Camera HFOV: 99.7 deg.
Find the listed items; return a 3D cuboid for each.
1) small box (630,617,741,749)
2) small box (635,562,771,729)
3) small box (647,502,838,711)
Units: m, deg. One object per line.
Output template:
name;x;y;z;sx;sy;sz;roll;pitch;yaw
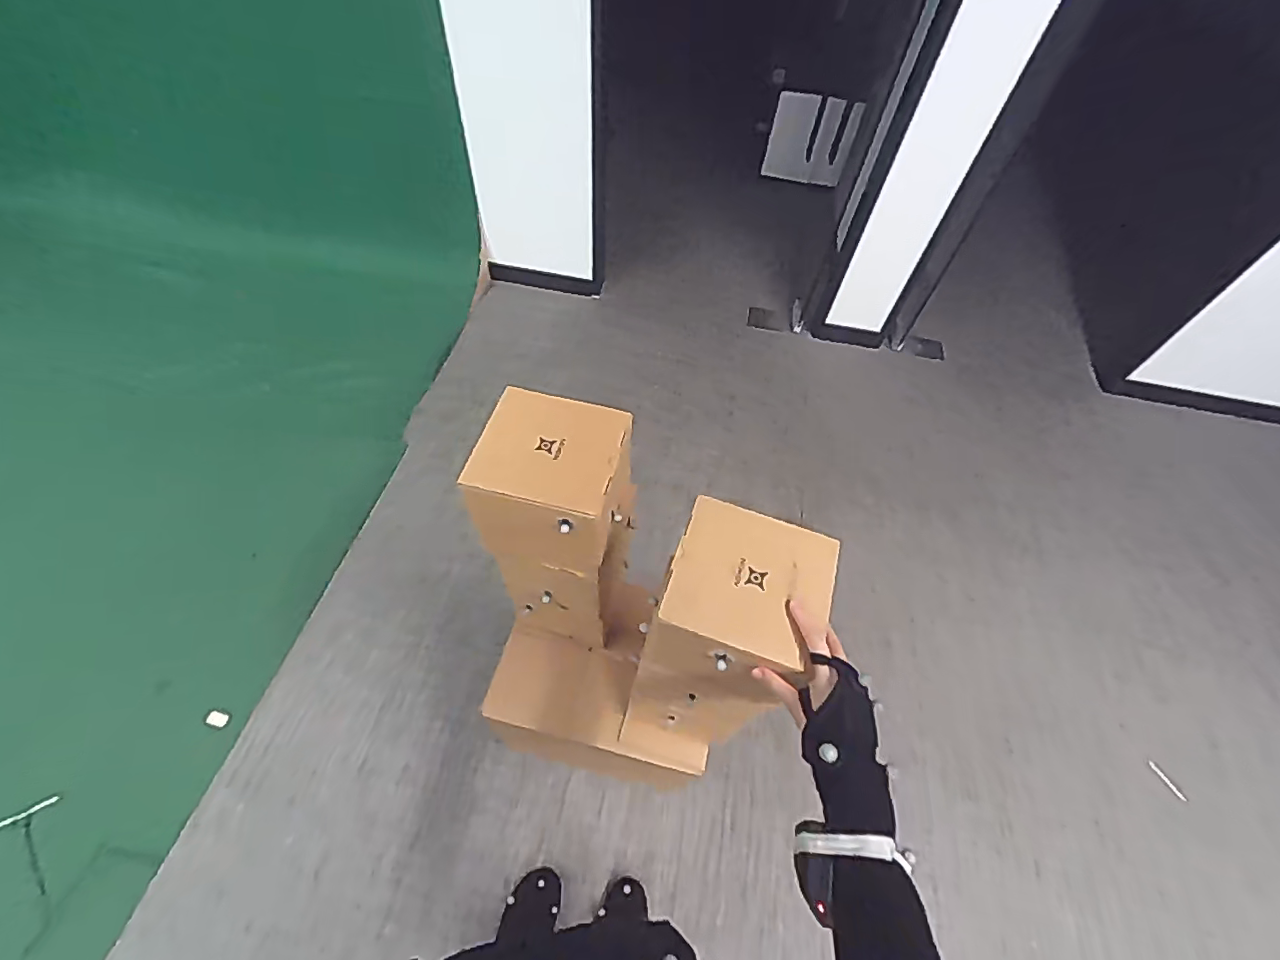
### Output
small box;0.087;0.343;0.924;0.179;0.176;0.168;14;57;8
small box;0.099;0.248;0.792;0.179;0.176;0.168;15;55;8
small box;0.115;0.159;0.656;0.179;0.176;0.168;19;56;8
